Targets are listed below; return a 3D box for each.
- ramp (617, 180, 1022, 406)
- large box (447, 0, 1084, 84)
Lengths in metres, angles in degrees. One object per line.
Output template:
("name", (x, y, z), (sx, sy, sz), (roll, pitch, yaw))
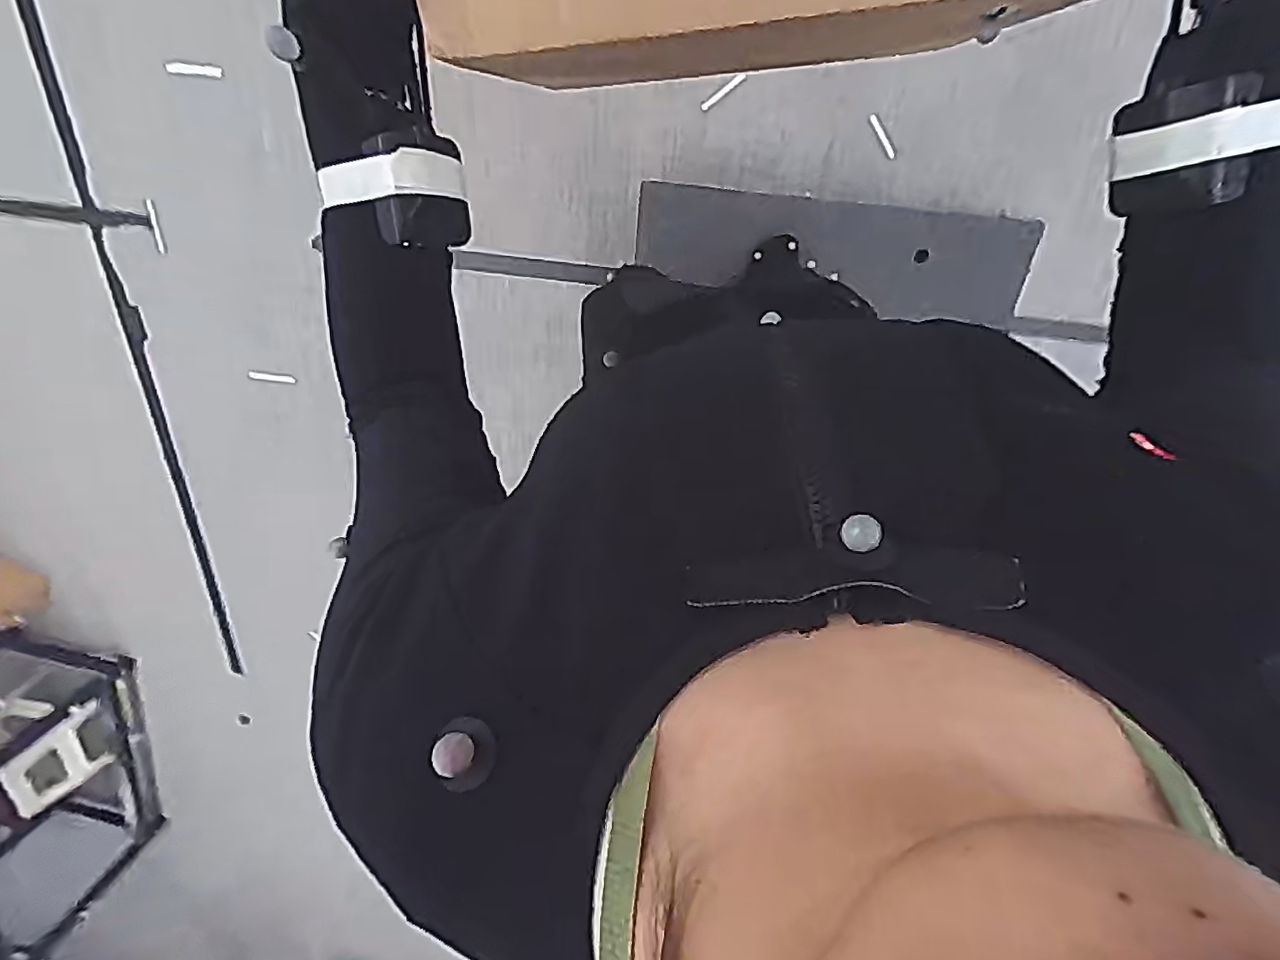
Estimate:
("ramp", (0.450, -0.453, 1.395), (0.991, 0.206, 0.509), (5, 114, 3))
("large box", (0.088, -0.468, 0.347), (0.408, 0.320, 0.320), (-1, 122, 6))
